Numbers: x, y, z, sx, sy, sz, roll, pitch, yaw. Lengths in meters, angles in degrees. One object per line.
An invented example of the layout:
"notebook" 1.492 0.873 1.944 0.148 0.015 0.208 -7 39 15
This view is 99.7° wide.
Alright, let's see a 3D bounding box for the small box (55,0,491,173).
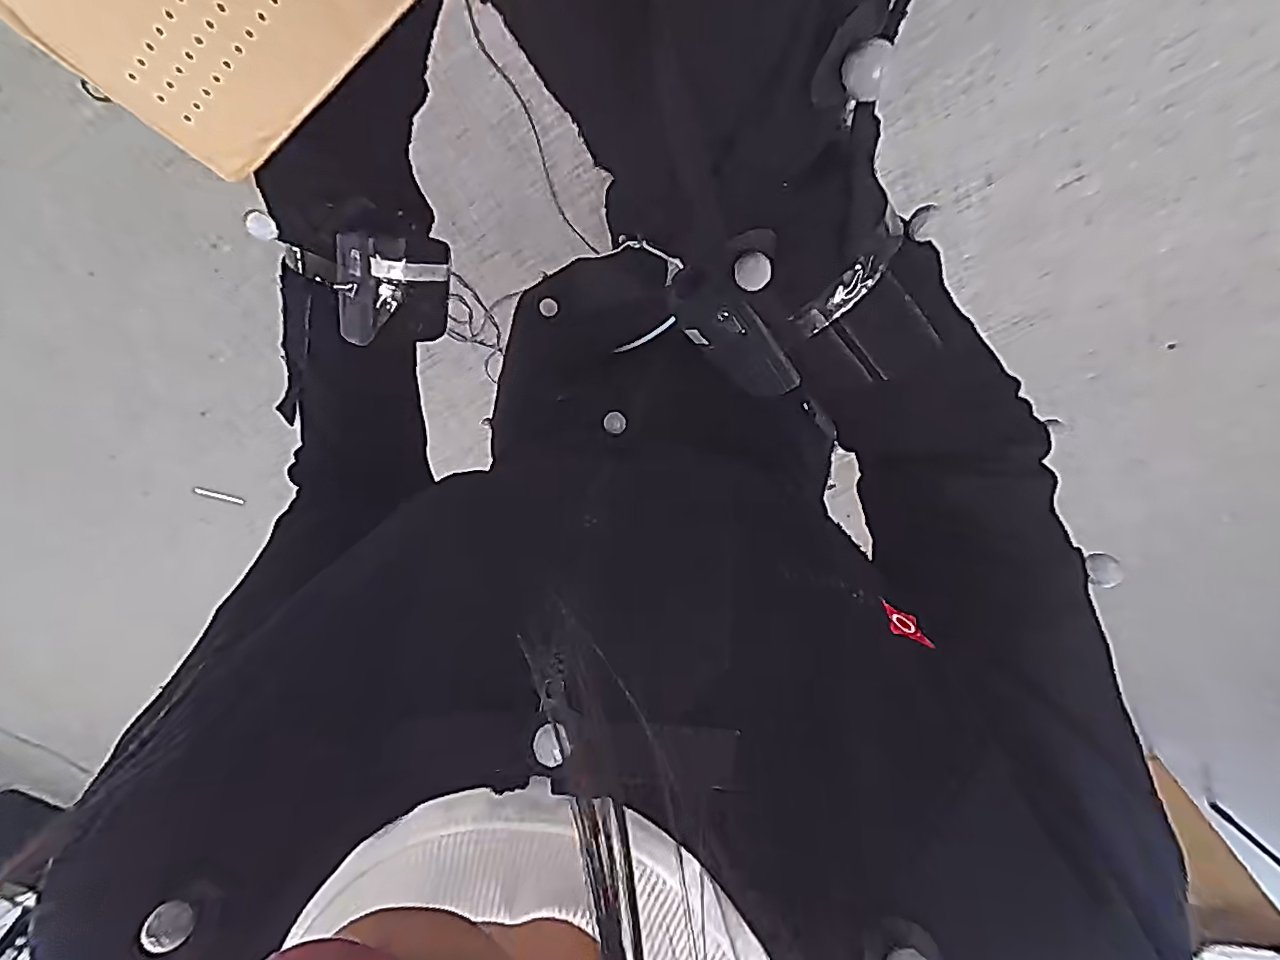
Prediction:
"small box" -0.097 -0.220 0.125 0.179 0.168 0.176 -13 150 31
